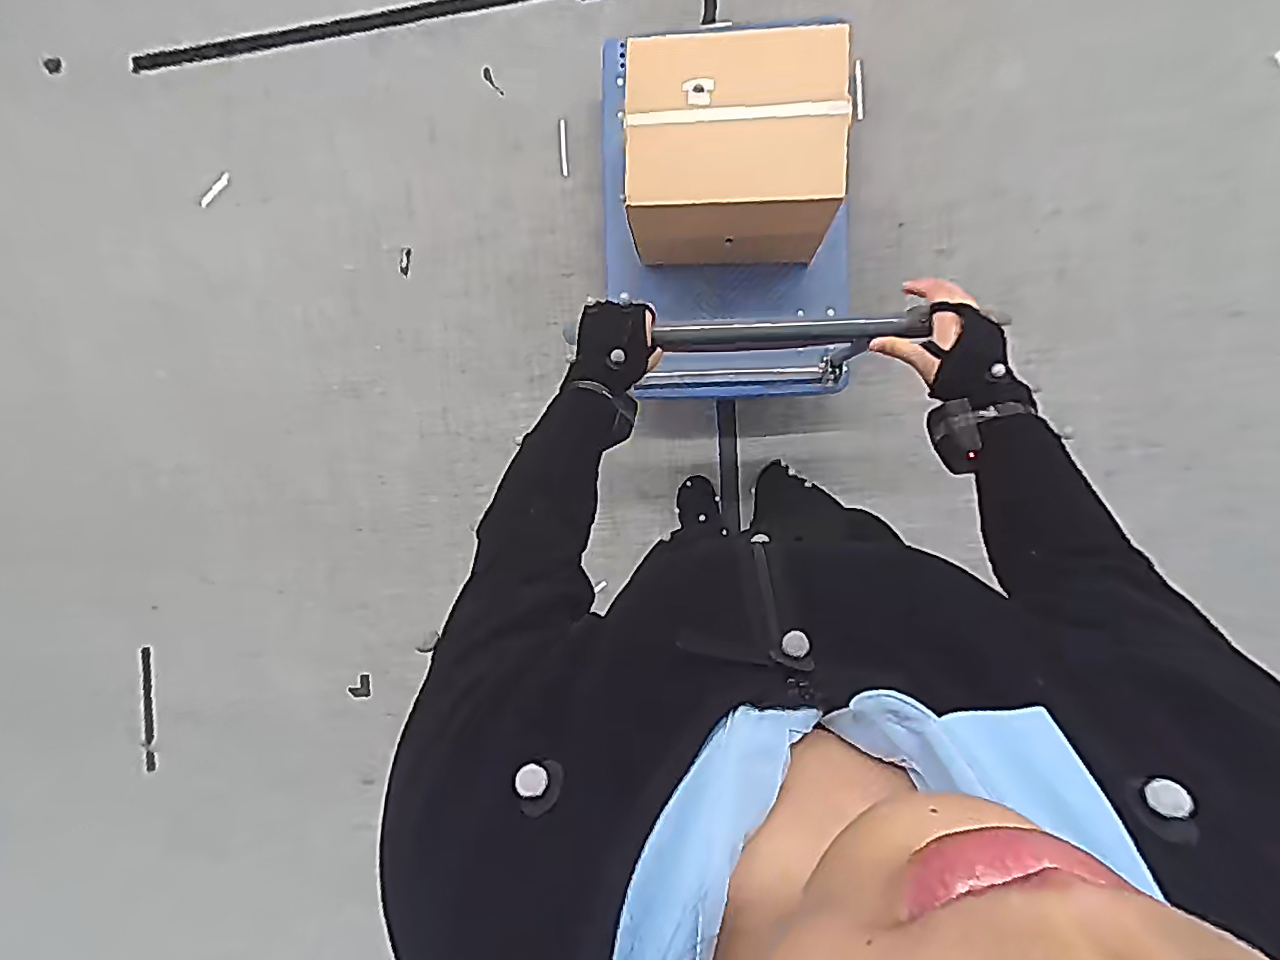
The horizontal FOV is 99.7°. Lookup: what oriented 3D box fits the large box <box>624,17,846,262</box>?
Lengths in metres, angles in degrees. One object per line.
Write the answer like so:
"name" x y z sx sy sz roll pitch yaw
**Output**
"large box" 0.189 -0.669 1.128 0.408 0.320 0.320 1 90 7
